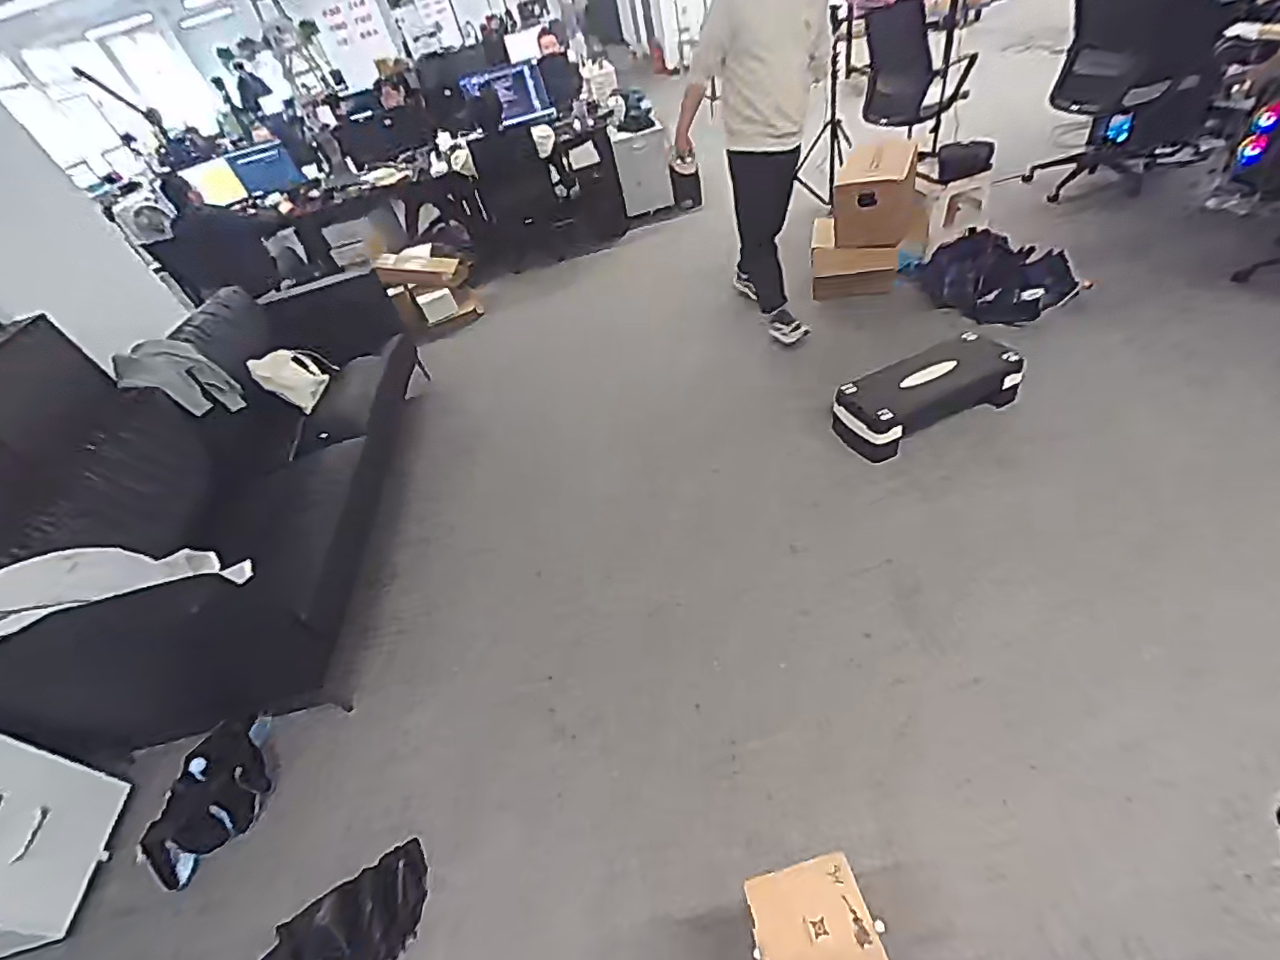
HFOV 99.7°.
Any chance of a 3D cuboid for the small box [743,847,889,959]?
[{"bbox_3d":[0.286,0.732,0.875,0.179,0.176,0.168,-19,41,2],"label":"small box"}]
